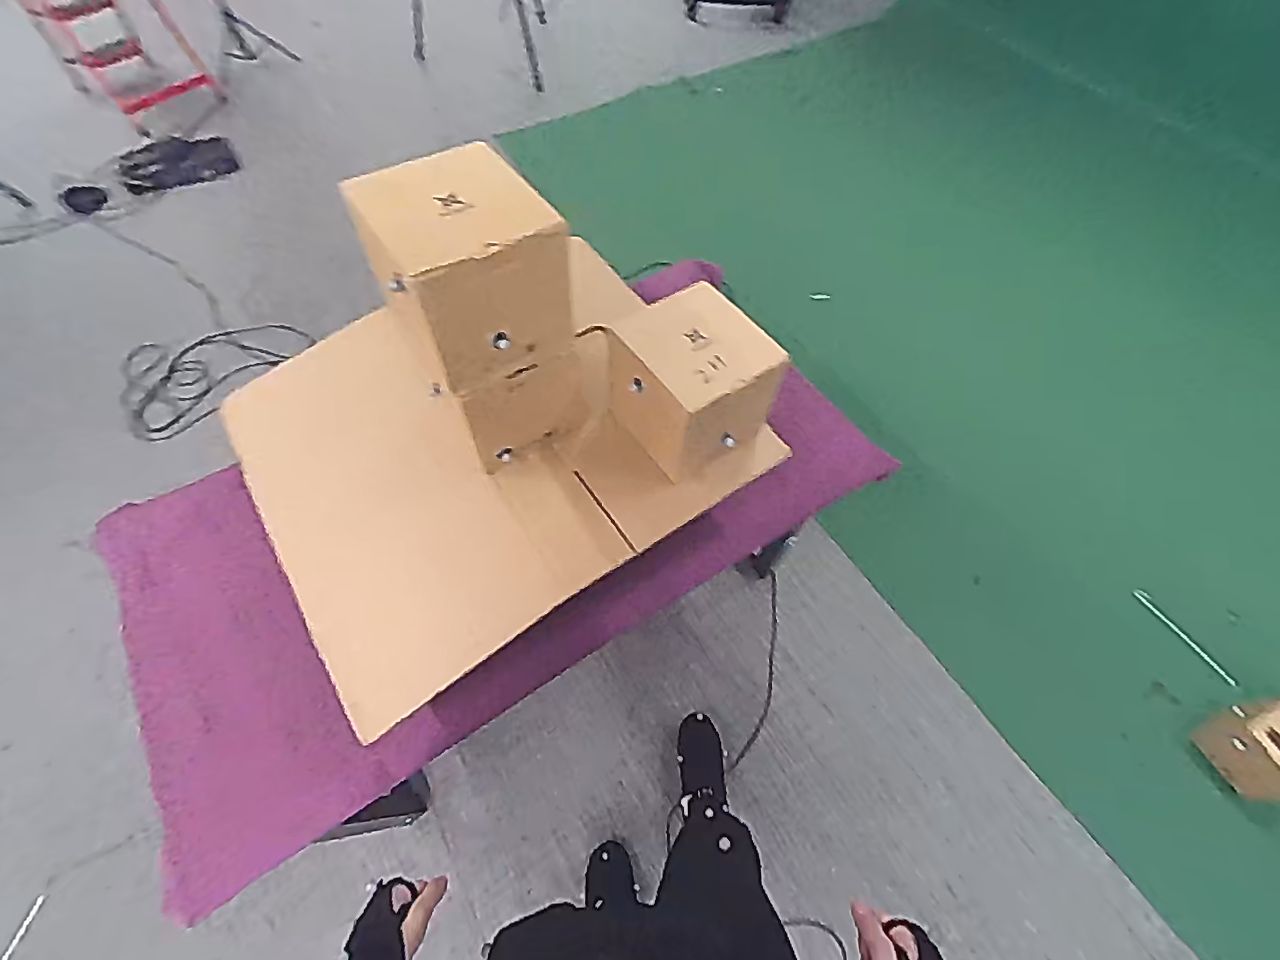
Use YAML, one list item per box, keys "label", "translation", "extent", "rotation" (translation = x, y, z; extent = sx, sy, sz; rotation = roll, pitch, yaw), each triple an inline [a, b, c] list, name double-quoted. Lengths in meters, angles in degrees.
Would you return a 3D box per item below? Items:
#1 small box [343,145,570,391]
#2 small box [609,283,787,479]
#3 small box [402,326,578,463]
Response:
- label: "small box"
  translation: [-0.194, -0.235, 0.612]
  extent: [0.168, 0.176, 0.179]
  rotation: [-31, 66, -21]
- label: "small box"
  translation: [0.068, -0.134, 0.756]
  extent: [0.168, 0.176, 0.179]
  rotation: [-31, 66, -19]
- label: "small box"
  translation: [-0.197, -0.146, 0.748]
  extent: [0.168, 0.176, 0.179]
  rotation: [-31, 65, -21]
